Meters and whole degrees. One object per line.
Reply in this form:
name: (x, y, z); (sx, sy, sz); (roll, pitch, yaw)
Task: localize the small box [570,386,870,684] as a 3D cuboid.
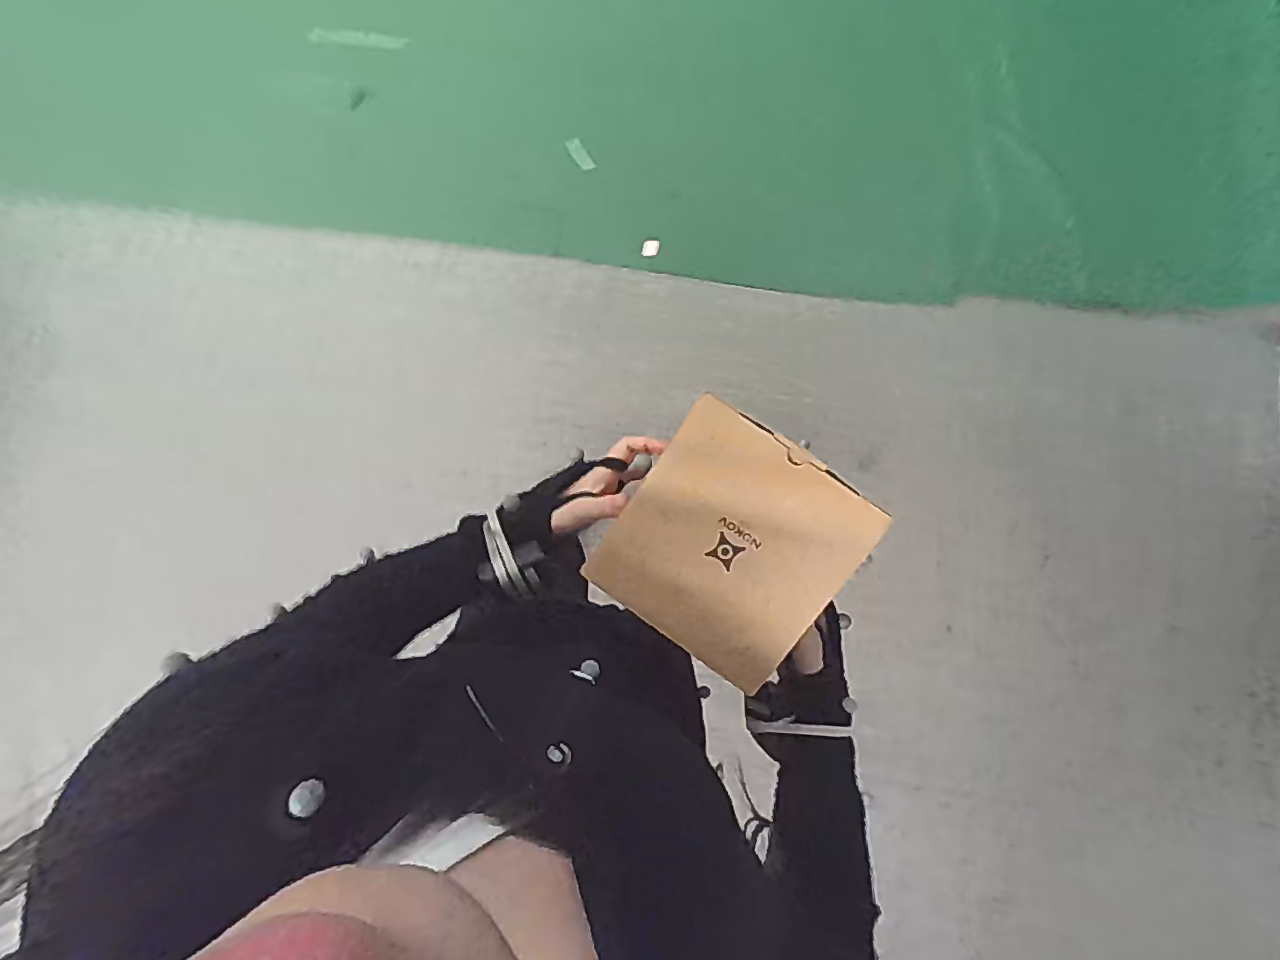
small box: (0.069, 0.036, 0.487); (0.168, 0.176, 0.179); (34, 101, 4)
